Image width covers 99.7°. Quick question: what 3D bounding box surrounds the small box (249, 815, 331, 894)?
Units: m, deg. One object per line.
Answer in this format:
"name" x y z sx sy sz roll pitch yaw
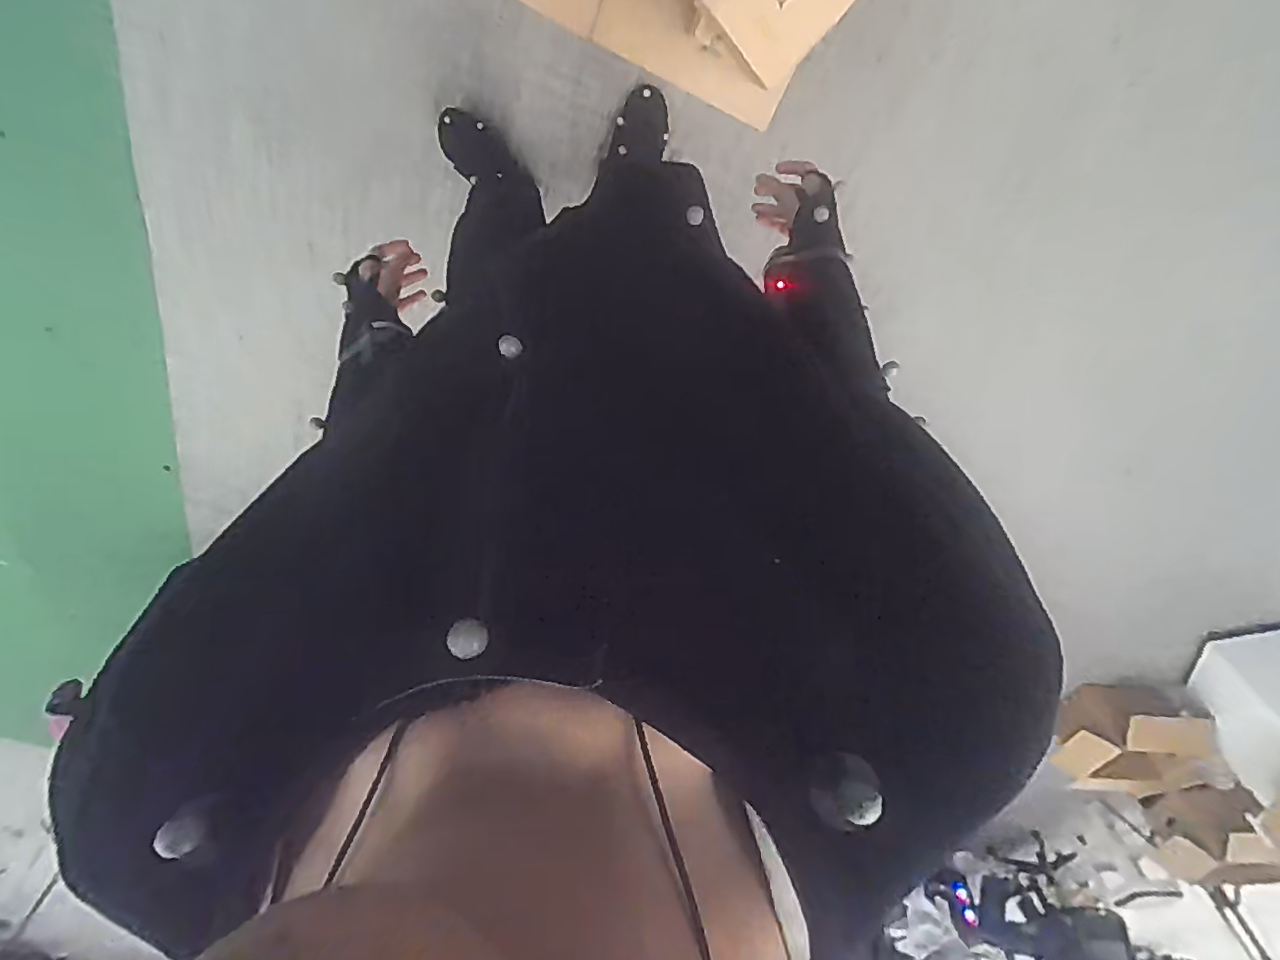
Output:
"small box" -1.128 1.210 1.750 0.179 0.176 0.168 19 125 -16

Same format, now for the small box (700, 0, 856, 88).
"small box" 0.210 -0.753 0.830 0.168 0.176 0.179 36 121 -27
